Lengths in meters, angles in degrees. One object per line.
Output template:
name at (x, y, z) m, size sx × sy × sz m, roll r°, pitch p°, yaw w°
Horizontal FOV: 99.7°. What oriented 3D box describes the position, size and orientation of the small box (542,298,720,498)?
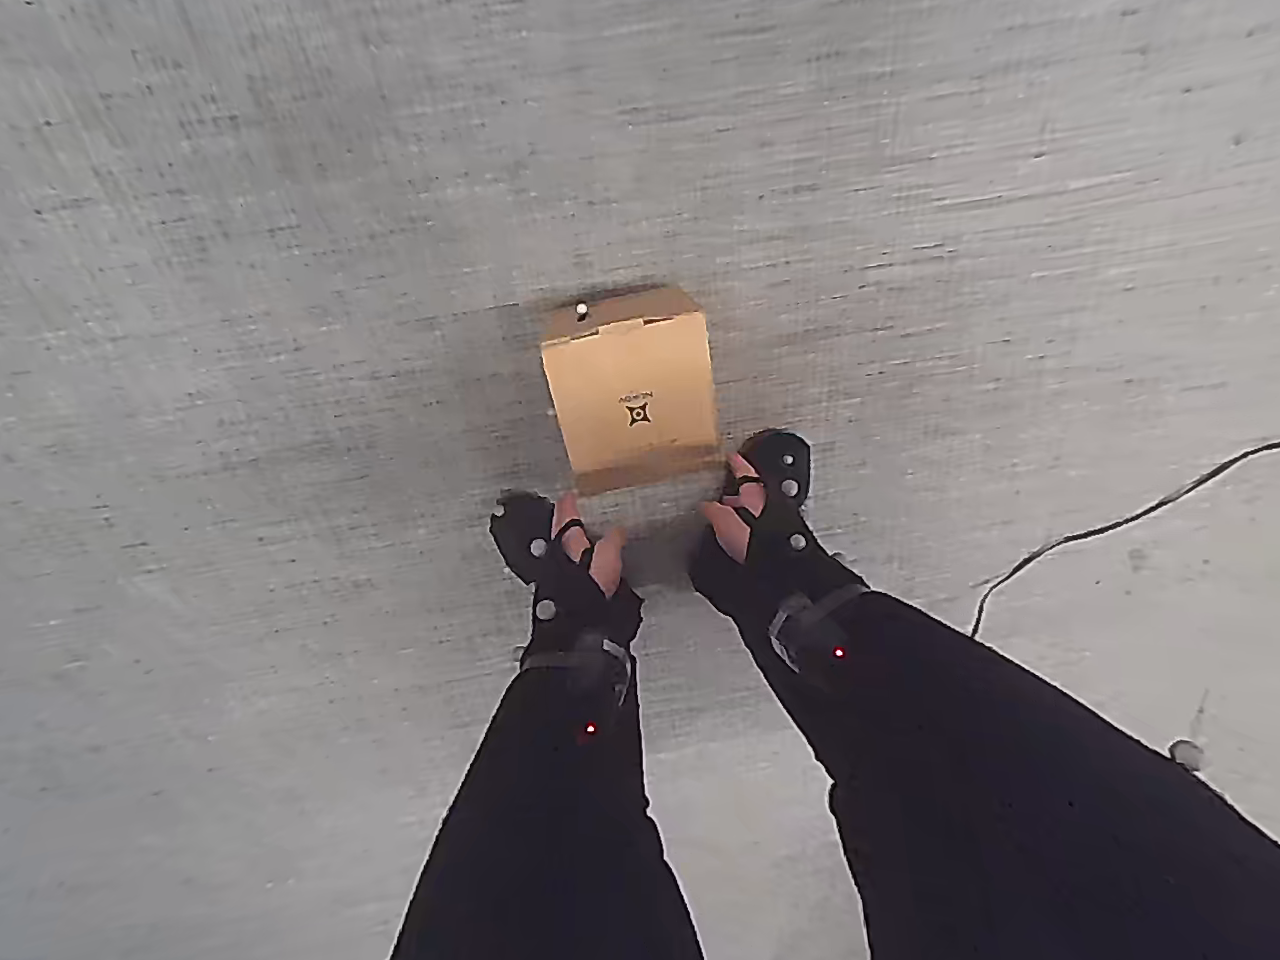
small box at (-0.011, -0.106, 0.638) m, size 0.168 × 0.176 × 0.179 m, roll -12°, pitch 119°, yaw 1°
